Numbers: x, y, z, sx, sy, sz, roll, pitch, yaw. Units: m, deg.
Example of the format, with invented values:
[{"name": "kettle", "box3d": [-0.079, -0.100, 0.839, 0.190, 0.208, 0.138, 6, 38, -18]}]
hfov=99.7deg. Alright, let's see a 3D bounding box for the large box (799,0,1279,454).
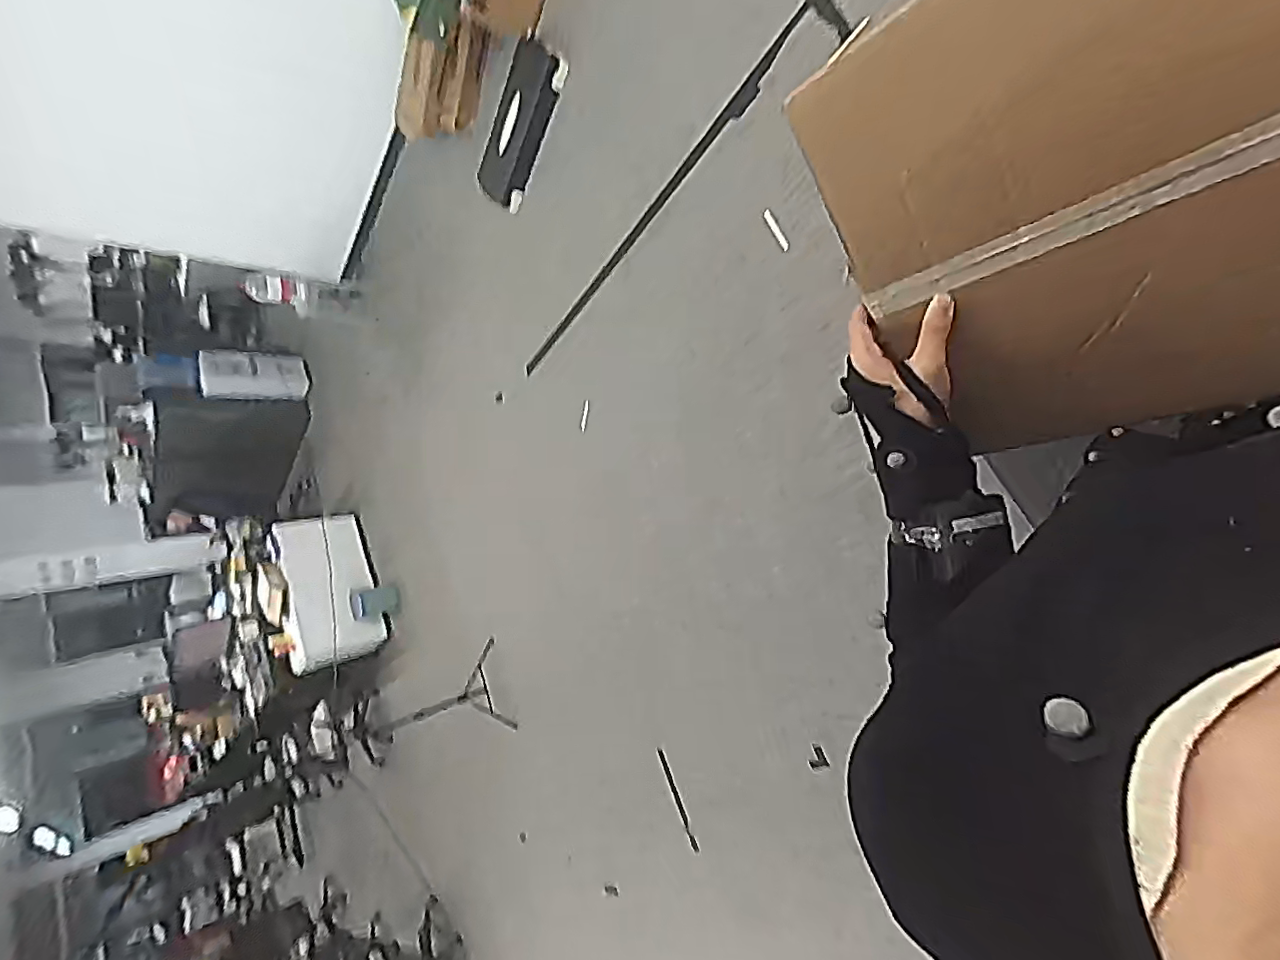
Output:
[{"name": "large box", "box3d": [0.396, -0.270, 0.394, 0.408, 0.320, 0.320, -17, 116, 42]}]
